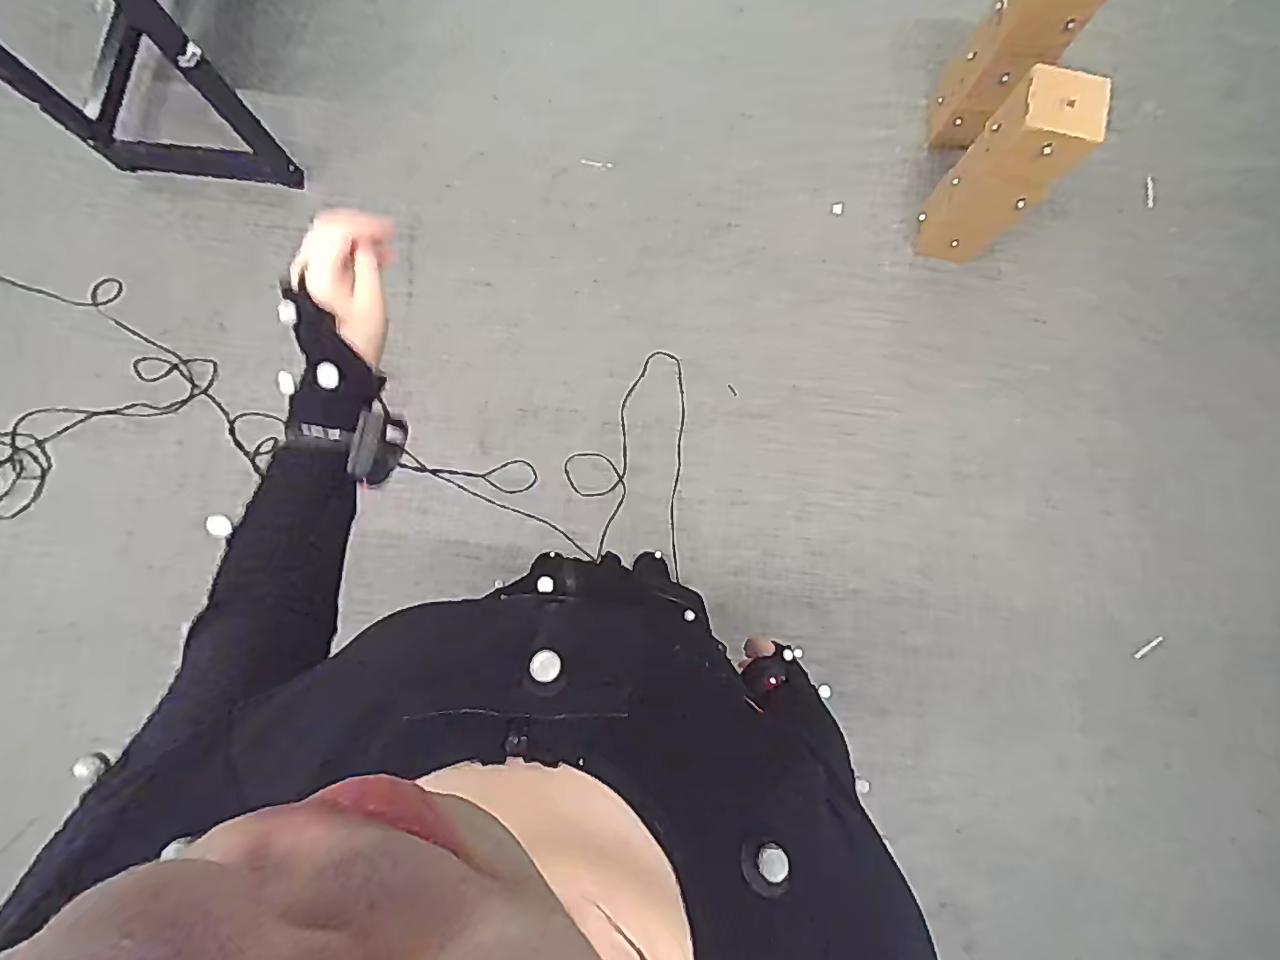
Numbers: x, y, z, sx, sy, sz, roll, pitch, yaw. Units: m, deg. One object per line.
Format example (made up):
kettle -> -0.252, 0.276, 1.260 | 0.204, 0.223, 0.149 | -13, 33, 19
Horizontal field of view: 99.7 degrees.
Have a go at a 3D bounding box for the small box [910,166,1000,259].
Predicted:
small box -> 0.940, -0.786, 1.606 | 0.179, 0.176, 0.168 | 13, 82, 2

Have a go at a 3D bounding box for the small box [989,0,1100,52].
small box -> 1.003, -1.205, 1.336 | 0.179, 0.176, 0.168 | 5, 80, 0

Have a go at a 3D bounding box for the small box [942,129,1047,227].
small box -> 0.945, -0.806, 1.442 | 0.179, 0.176, 0.168 | 11, 81, 1

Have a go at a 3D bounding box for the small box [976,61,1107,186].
small box -> 0.944, -0.833, 1.282 | 0.179, 0.176, 0.168 | 13, 82, 1

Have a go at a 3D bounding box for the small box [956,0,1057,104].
small box -> 1.005, -1.183, 1.498 | 0.179, 0.176, 0.168 | 4, 81, 0
